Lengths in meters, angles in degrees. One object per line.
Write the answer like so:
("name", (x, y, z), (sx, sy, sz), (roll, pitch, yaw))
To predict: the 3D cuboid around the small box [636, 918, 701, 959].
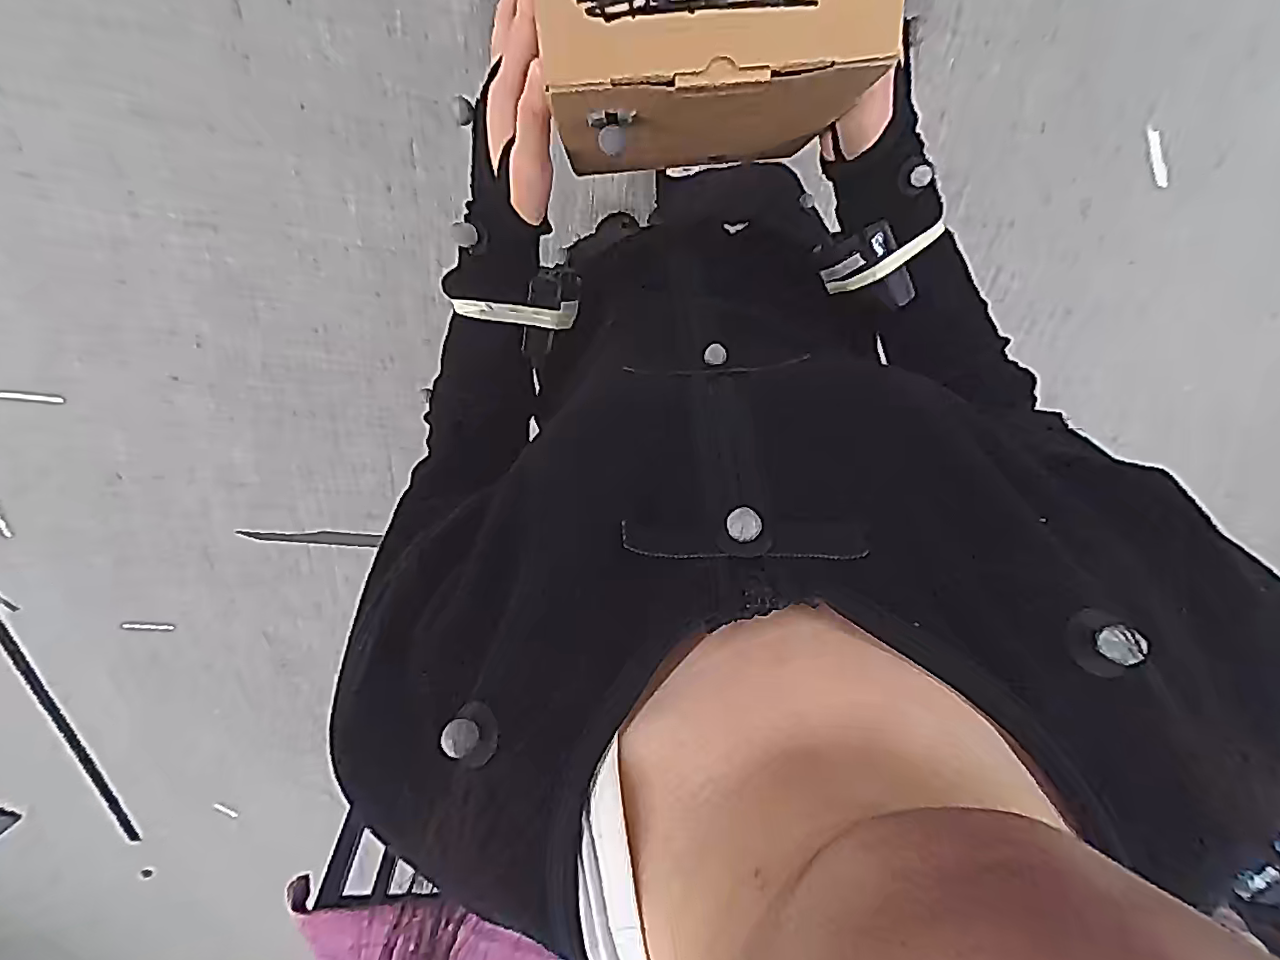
("small box", (0.081, 1.358, 1.509), (0.168, 0.176, 0.179), (2, 121, -7))
